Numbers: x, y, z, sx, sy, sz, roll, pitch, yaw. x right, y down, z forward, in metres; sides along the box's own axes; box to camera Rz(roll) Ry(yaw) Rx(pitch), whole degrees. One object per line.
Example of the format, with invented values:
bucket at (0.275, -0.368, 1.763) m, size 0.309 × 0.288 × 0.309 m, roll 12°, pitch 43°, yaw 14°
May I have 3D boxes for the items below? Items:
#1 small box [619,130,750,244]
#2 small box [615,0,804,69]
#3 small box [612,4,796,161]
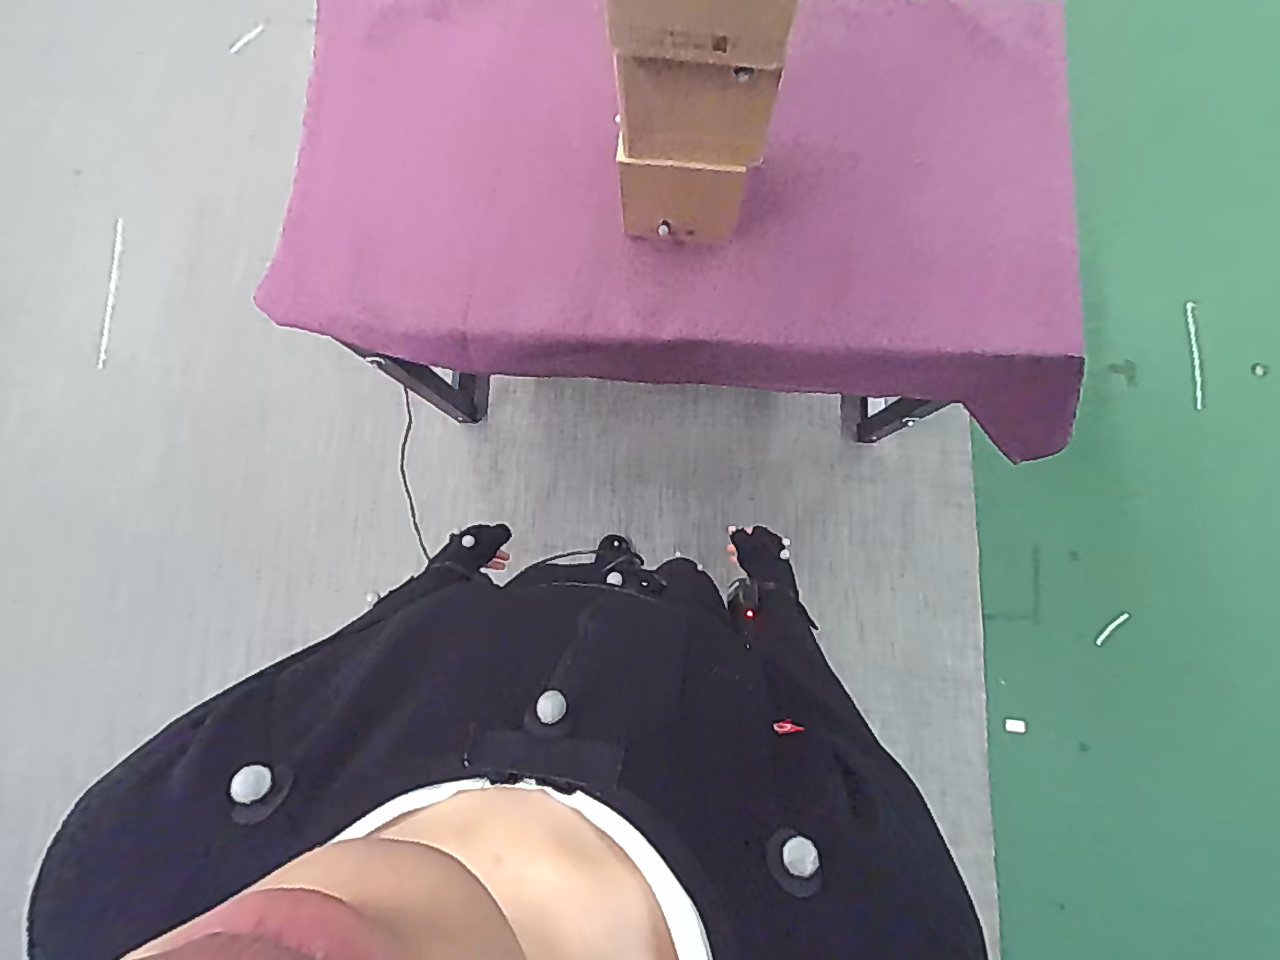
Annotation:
small box at (0.066, -0.465, 0.759) m, size 0.168 × 0.176 × 0.179 m, roll 6°, pitch 83°, yaw 3°
small box at (0.065, -0.485, 0.434) m, size 0.168 × 0.176 × 0.179 m, roll 8°, pitch 82°, yaw 3°
small box at (0.070, -0.487, 0.599) m, size 0.179 × 0.176 × 0.168 m, roll 5°, pitch 83°, yaw 2°
